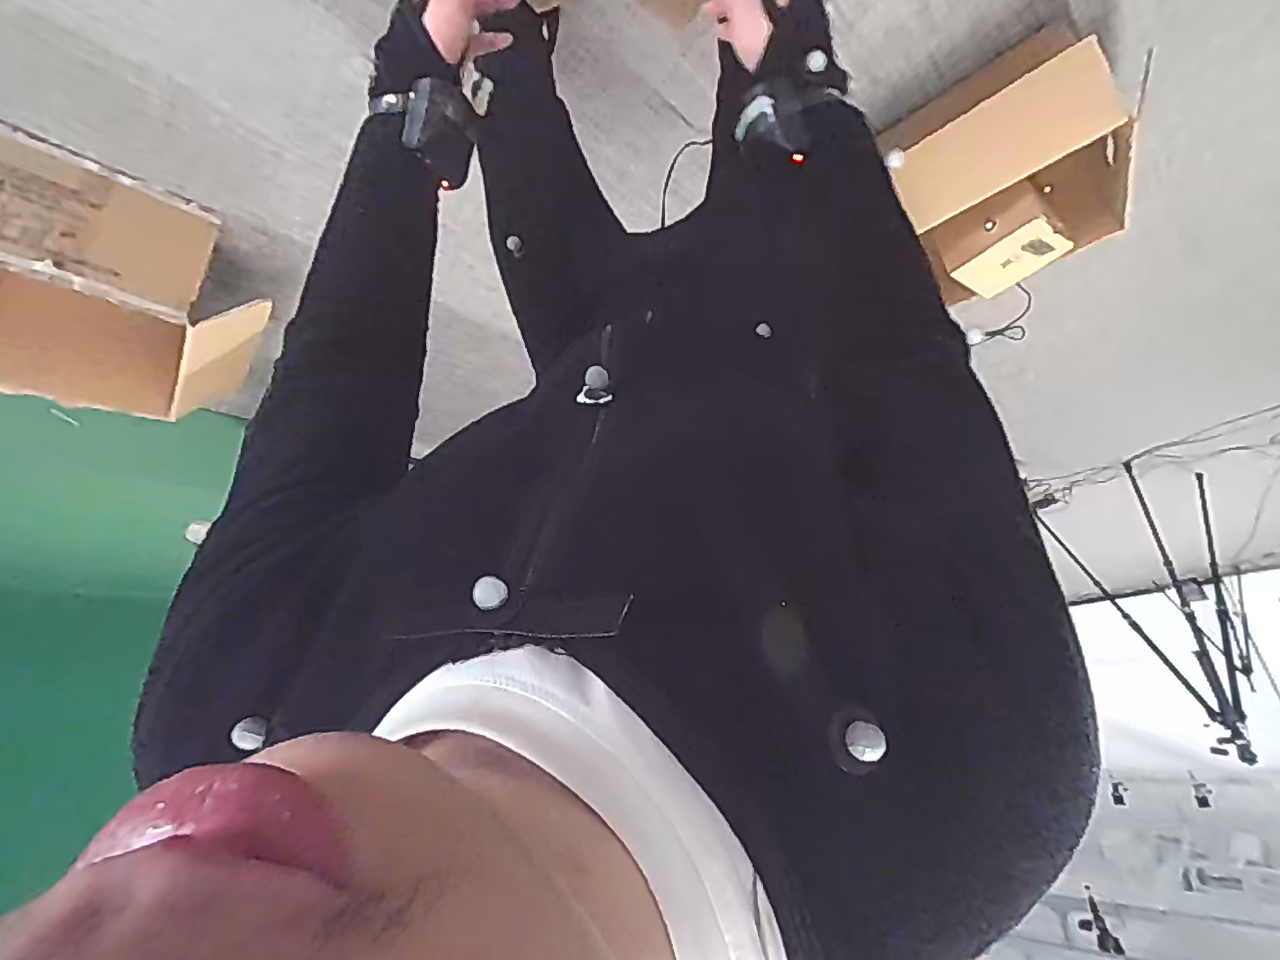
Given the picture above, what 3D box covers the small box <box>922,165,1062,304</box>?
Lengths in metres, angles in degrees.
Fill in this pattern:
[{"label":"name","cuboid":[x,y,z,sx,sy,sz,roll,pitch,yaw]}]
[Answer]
[{"label":"small box","cuboid":[0.741,-0.519,1.150,0.168,0.176,0.179,14,150,-34]}]
